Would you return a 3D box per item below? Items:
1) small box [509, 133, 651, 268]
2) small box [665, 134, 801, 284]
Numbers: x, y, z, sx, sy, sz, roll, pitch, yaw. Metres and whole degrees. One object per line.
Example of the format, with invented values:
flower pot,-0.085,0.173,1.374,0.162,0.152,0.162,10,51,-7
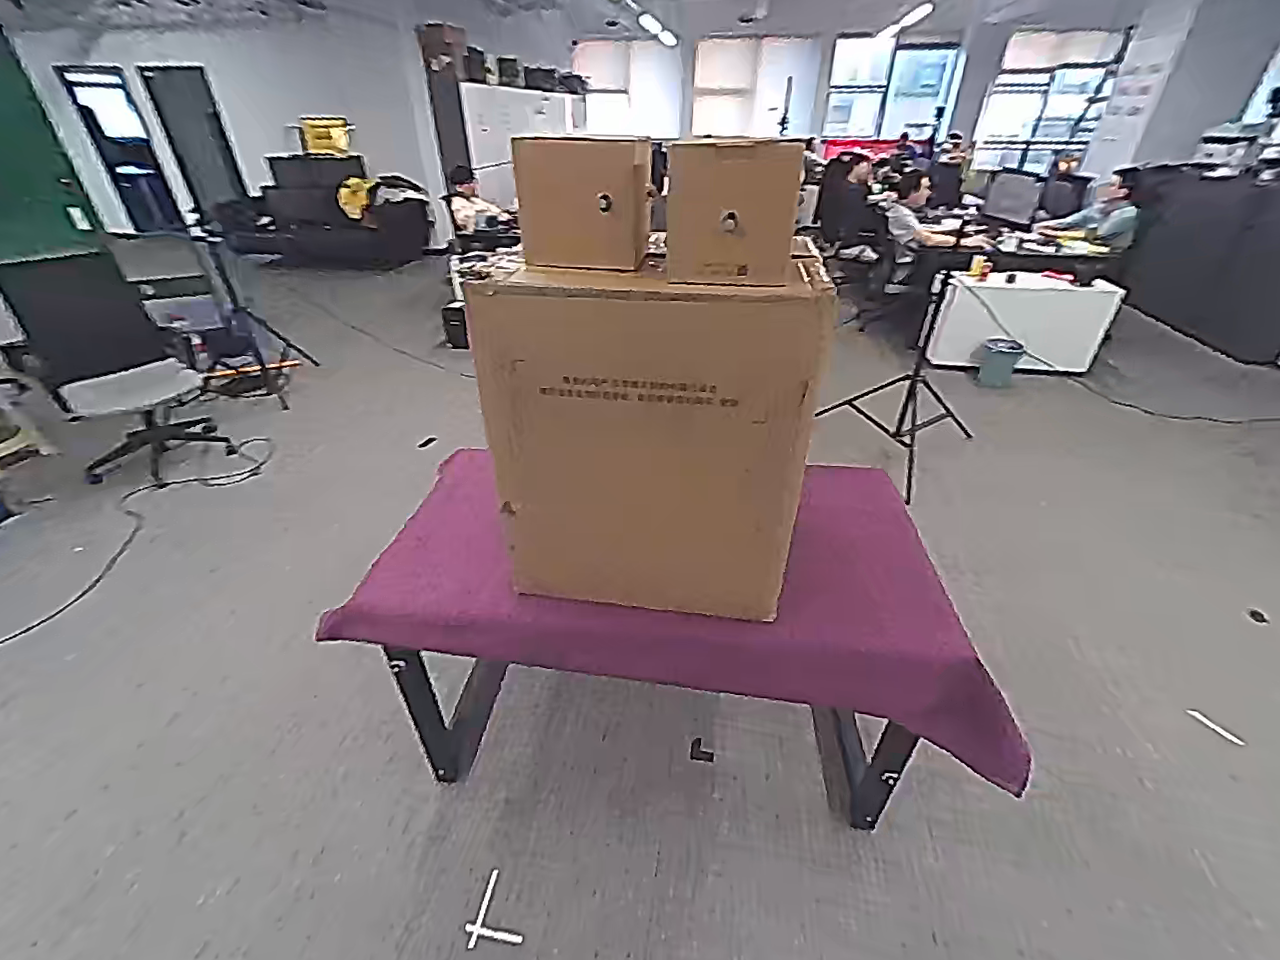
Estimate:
small box,-0.080,-0.428,0.830,0.179,0.176,0.168,4,34,7
small box,0.130,-0.380,0.759,0.168,0.176,0.179,5,34,9
